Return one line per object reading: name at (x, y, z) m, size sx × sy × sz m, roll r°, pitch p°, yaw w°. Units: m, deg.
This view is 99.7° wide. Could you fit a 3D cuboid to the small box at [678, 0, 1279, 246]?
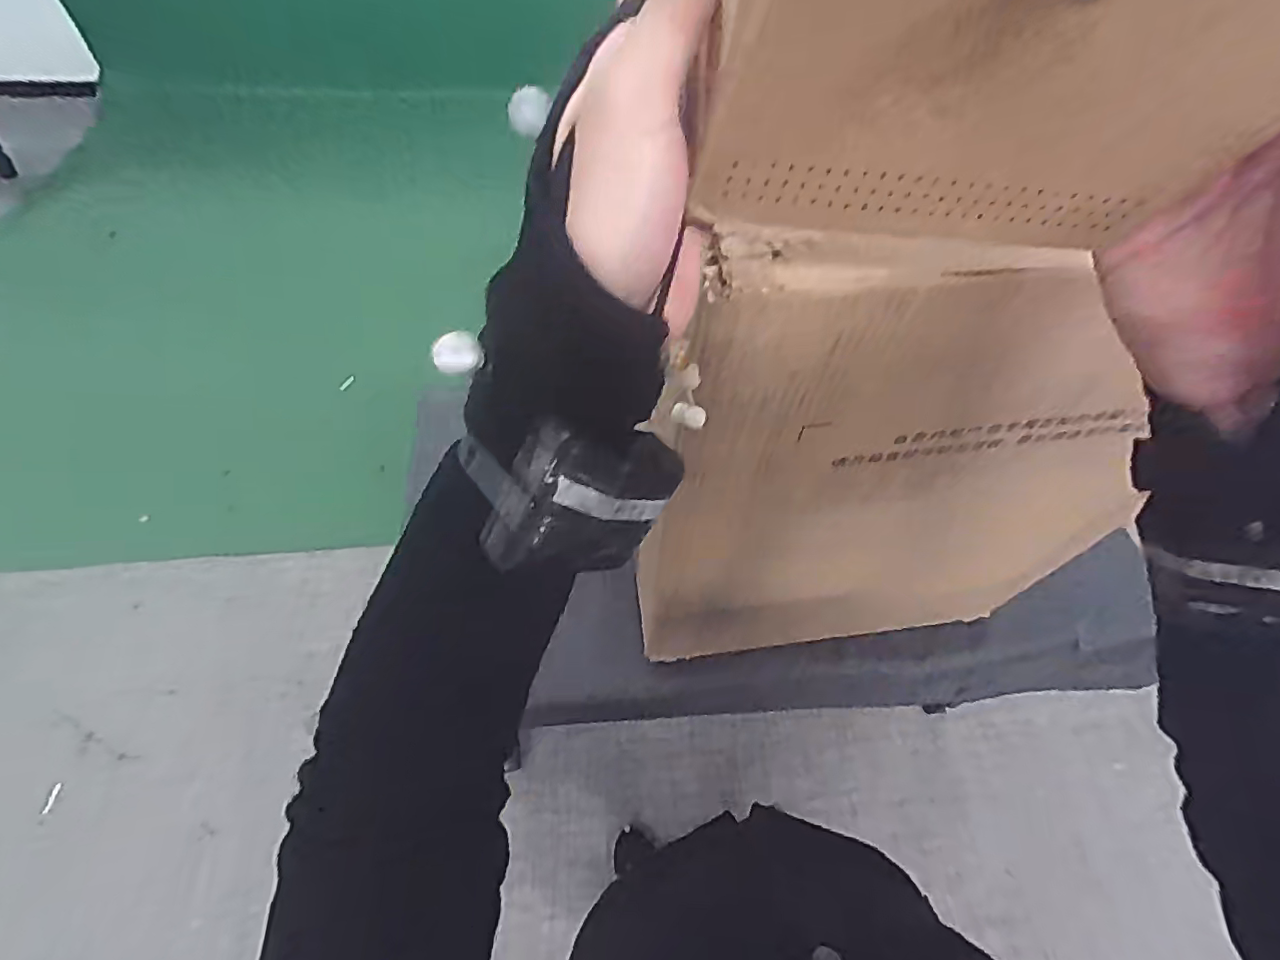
small box at (0.106, -0.191, 0.156) m, size 0.179 × 0.176 × 0.168 m, roll 1°, pitch 78°, yaw -5°
